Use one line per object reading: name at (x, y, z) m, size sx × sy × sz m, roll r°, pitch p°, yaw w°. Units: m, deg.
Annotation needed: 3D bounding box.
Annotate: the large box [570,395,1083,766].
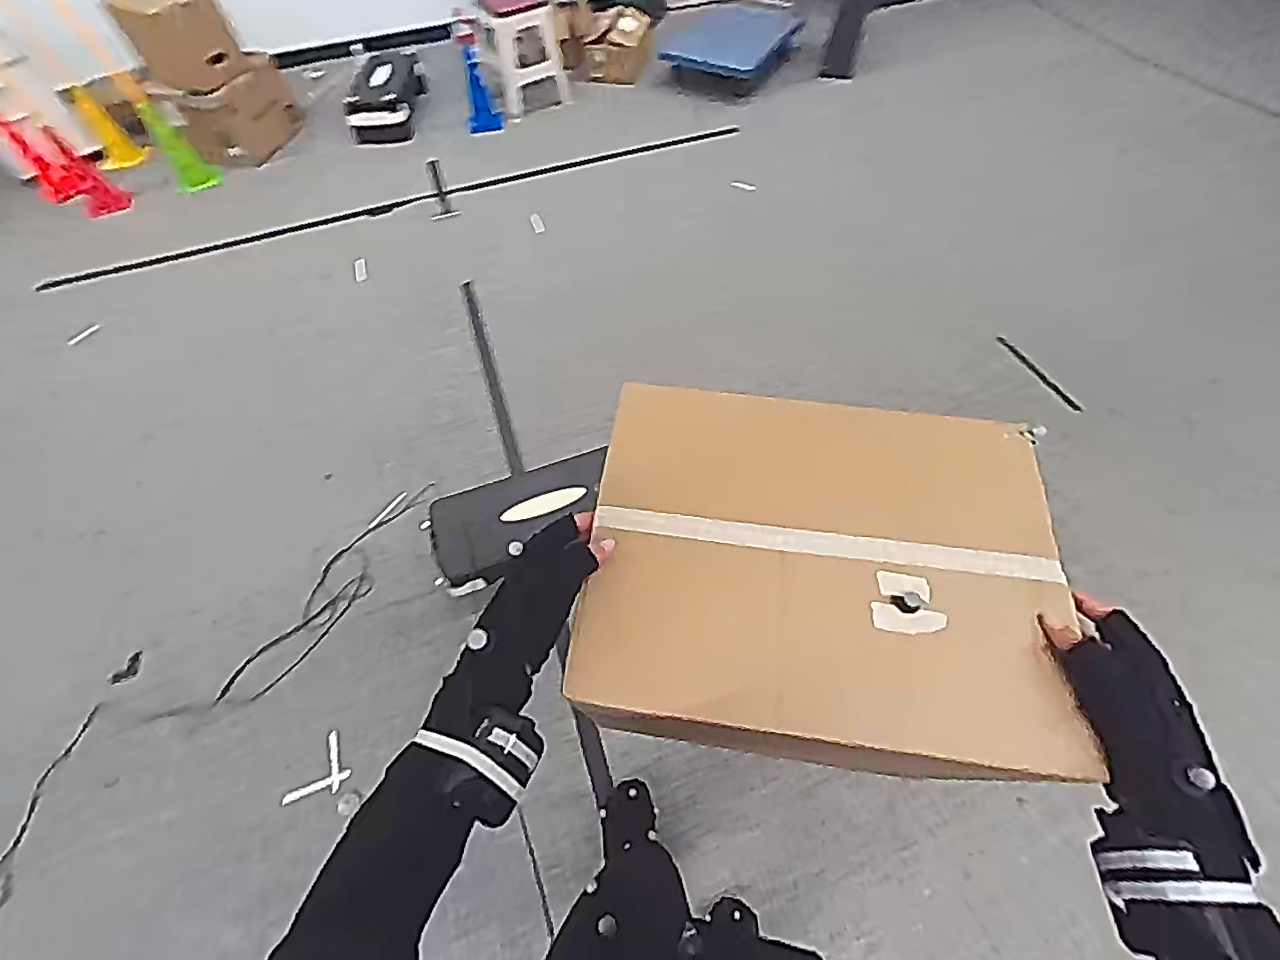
large box at (0.153, 0.131, 0.617) m, size 0.408 × 0.320 × 0.320 m, roll 6°, pitch 62°, yaw 3°
